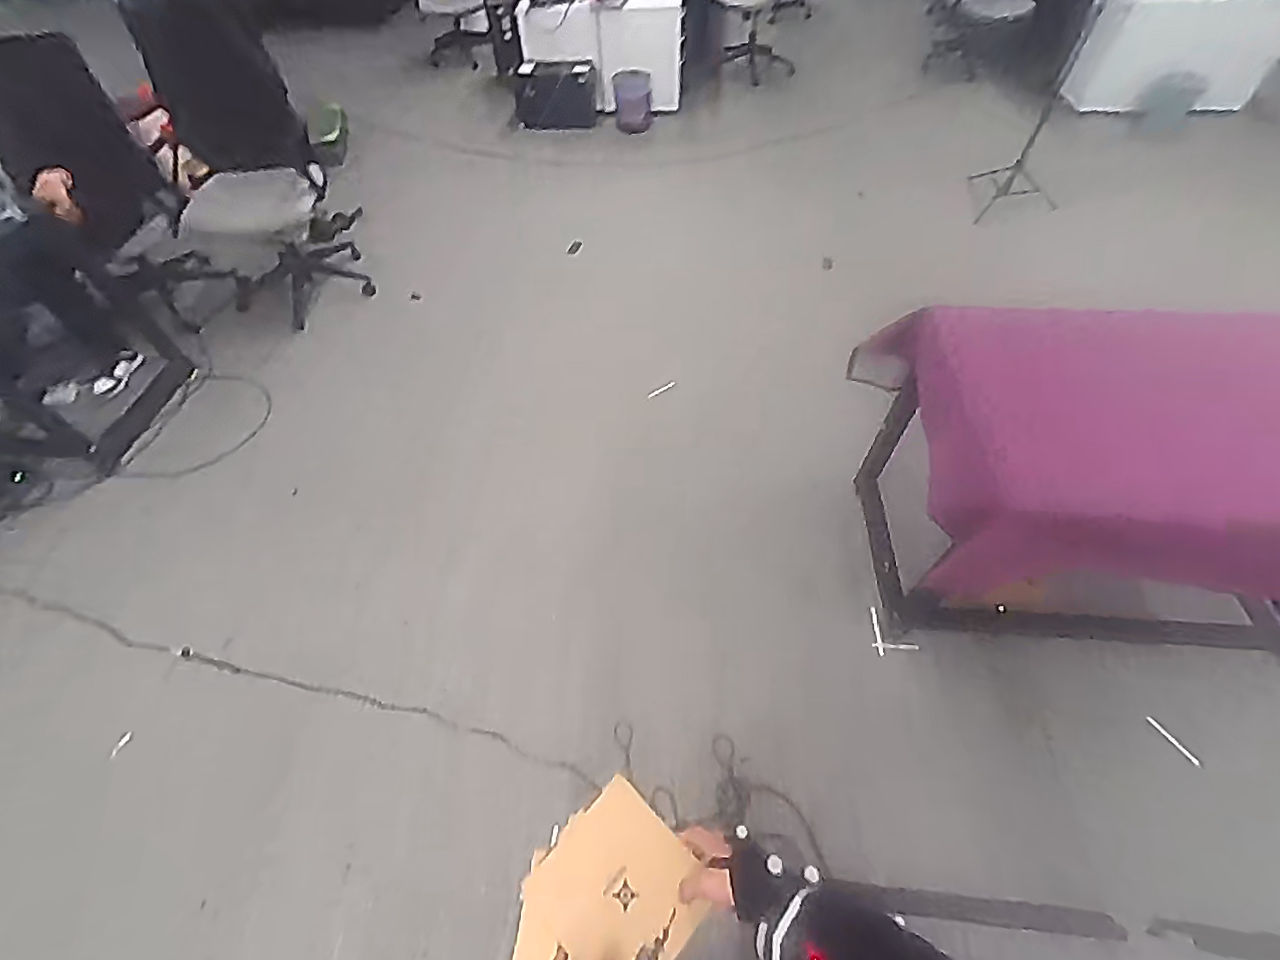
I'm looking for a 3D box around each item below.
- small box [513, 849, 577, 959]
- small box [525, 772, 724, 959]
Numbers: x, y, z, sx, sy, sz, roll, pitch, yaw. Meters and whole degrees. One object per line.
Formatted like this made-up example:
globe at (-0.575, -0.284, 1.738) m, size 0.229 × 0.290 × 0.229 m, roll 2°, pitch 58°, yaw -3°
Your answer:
small box at (-0.130, 0.840, 1.058) m, size 0.168 × 0.176 × 0.179 m, roll 5°, pitch 55°, yaw 6°
small box at (-0.018, 0.515, 0.692) m, size 0.179 × 0.176 × 0.168 m, roll 39°, pitch 65°, yaw 24°
